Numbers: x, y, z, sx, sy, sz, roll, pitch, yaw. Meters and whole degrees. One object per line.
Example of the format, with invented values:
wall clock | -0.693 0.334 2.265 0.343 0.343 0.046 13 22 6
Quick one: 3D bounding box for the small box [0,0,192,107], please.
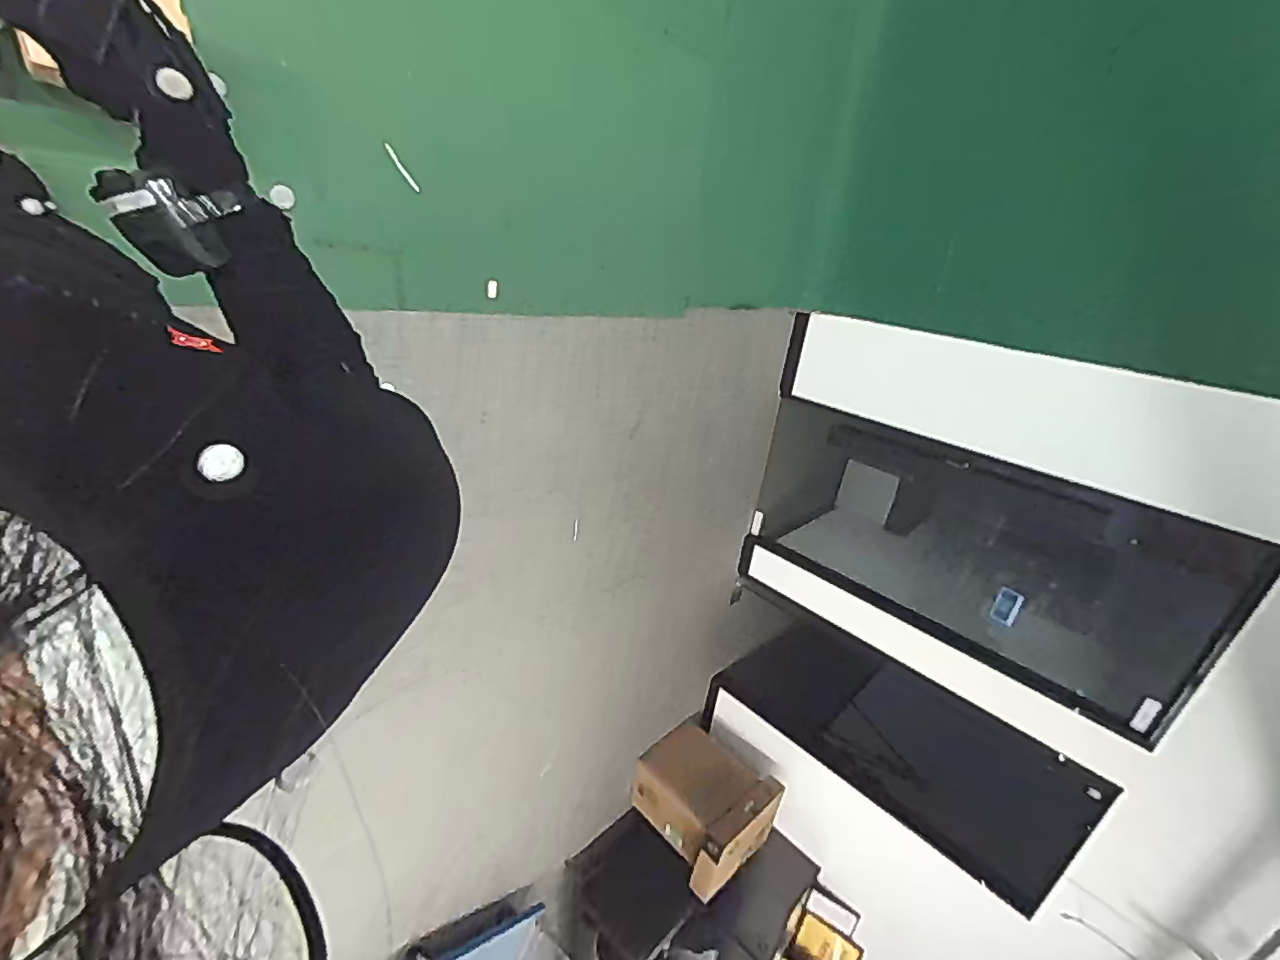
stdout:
small box | -0.787 -0.656 0.778 0.179 0.176 0.168 -16 123 -45
